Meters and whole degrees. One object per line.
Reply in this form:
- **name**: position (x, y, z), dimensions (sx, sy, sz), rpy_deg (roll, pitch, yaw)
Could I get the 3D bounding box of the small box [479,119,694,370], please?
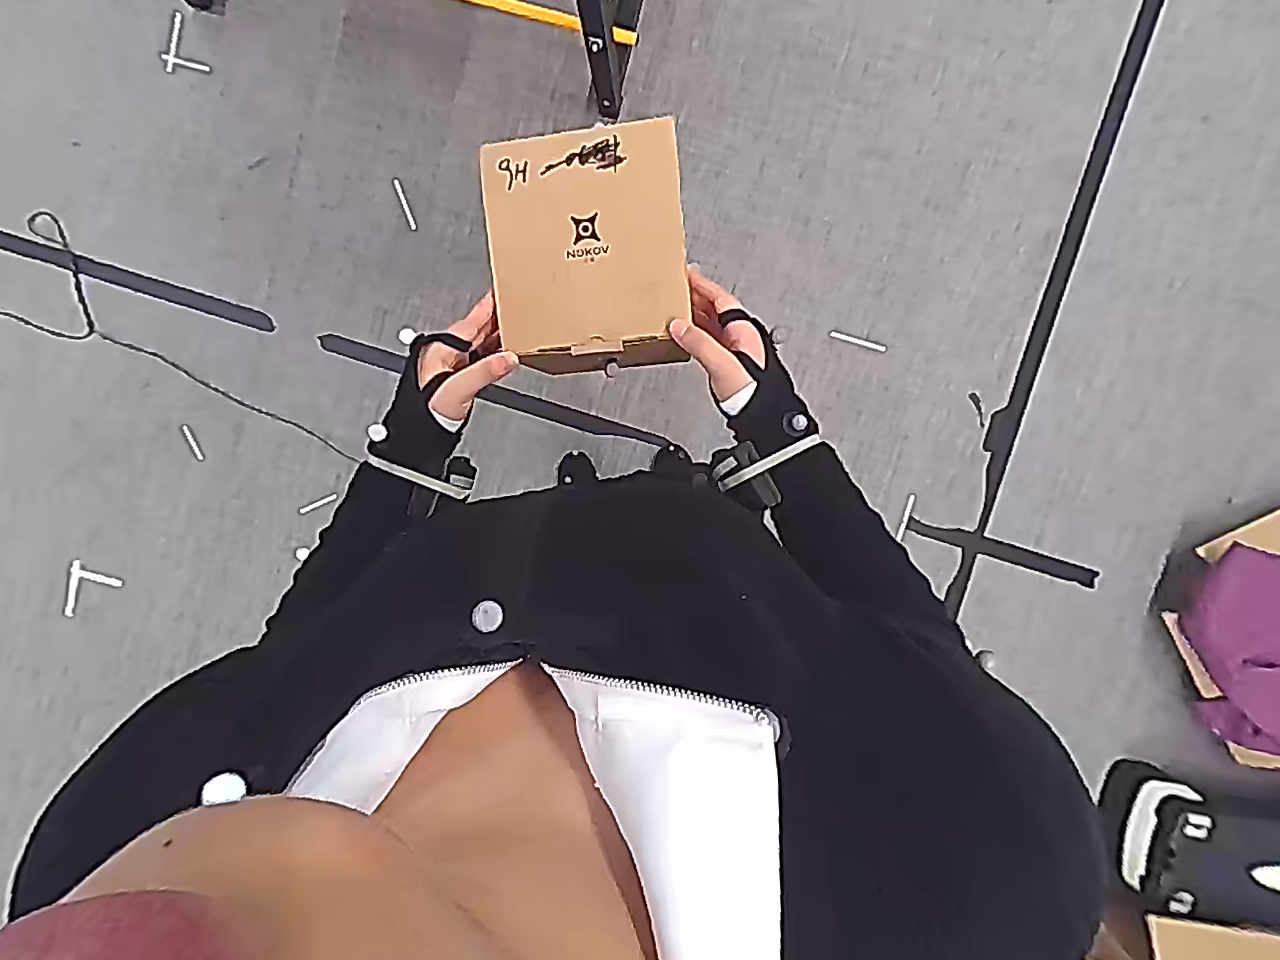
- **small box**: position (-0.036, -0.203, 0.523), dimensions (0.168, 0.176, 0.179), rpy_deg (-5, 96, 6)
